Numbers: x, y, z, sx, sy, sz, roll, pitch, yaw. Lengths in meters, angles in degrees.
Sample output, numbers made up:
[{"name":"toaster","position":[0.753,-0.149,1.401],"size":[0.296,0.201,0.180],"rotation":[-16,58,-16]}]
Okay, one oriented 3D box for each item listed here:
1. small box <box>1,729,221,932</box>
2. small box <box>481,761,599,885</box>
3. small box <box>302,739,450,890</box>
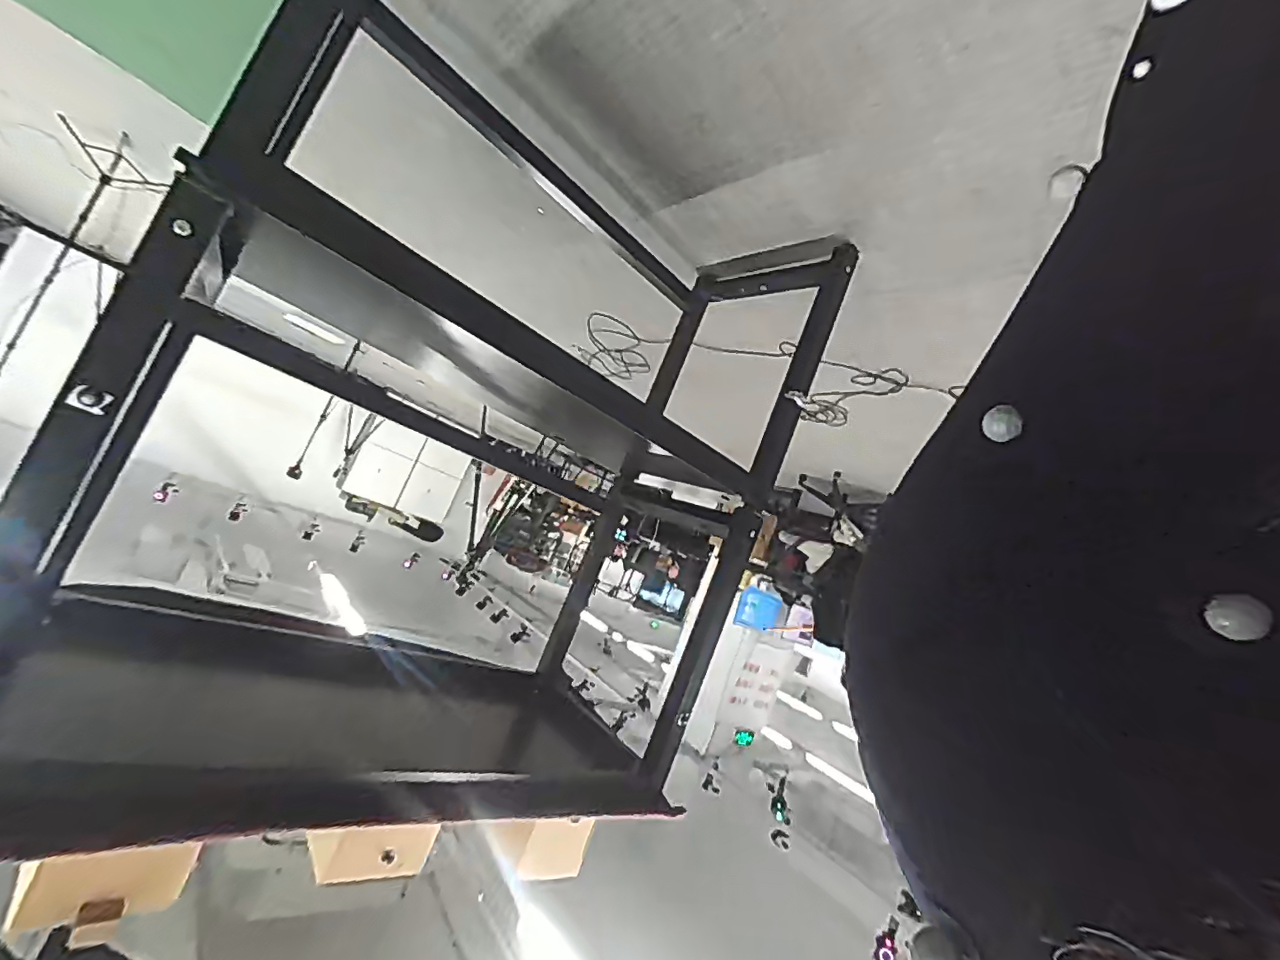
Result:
[{"name":"small box","position":[-0.724,0.470,0.761],"size":[0.168,0.176,0.179],"rotation":[27,174,-41]},{"name":"small box","position":[-0.215,0.735,1.179],"size":[0.168,0.176,0.179],"rotation":[26,171,-35]},{"name":"small box","position":[-0.479,0.601,0.991],"size":[0.179,0.176,0.168],"rotation":[29,172,-39]}]
